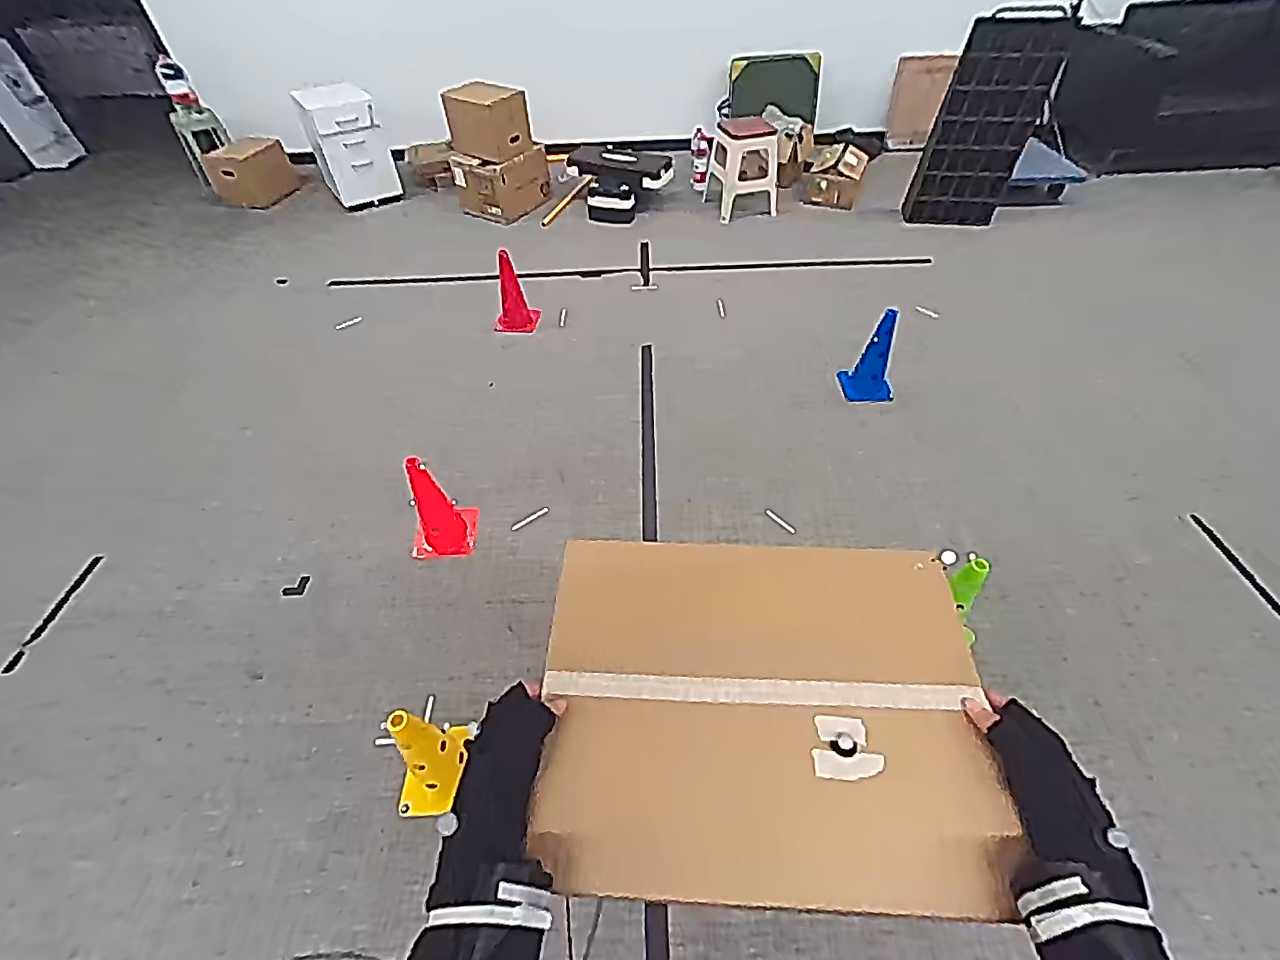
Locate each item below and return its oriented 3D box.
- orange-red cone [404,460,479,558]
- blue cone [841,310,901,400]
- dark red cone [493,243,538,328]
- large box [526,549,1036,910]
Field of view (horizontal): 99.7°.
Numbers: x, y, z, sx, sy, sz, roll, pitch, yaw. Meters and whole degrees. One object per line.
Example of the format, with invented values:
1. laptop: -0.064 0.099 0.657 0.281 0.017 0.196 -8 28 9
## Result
1. orange-red cone: -0.663 0.069 1.711 0.198 0.360 0.199 -4 50 0
2. blue cone: 0.961 -0.512 2.186 0.192 0.380 0.193 1 49 2
3. dark red cone: -0.616 -0.920 2.555 0.201 0.394 0.202 3 49 4
4. large box: 0.113 0.292 0.625 0.408 0.320 0.320 1 53 3
